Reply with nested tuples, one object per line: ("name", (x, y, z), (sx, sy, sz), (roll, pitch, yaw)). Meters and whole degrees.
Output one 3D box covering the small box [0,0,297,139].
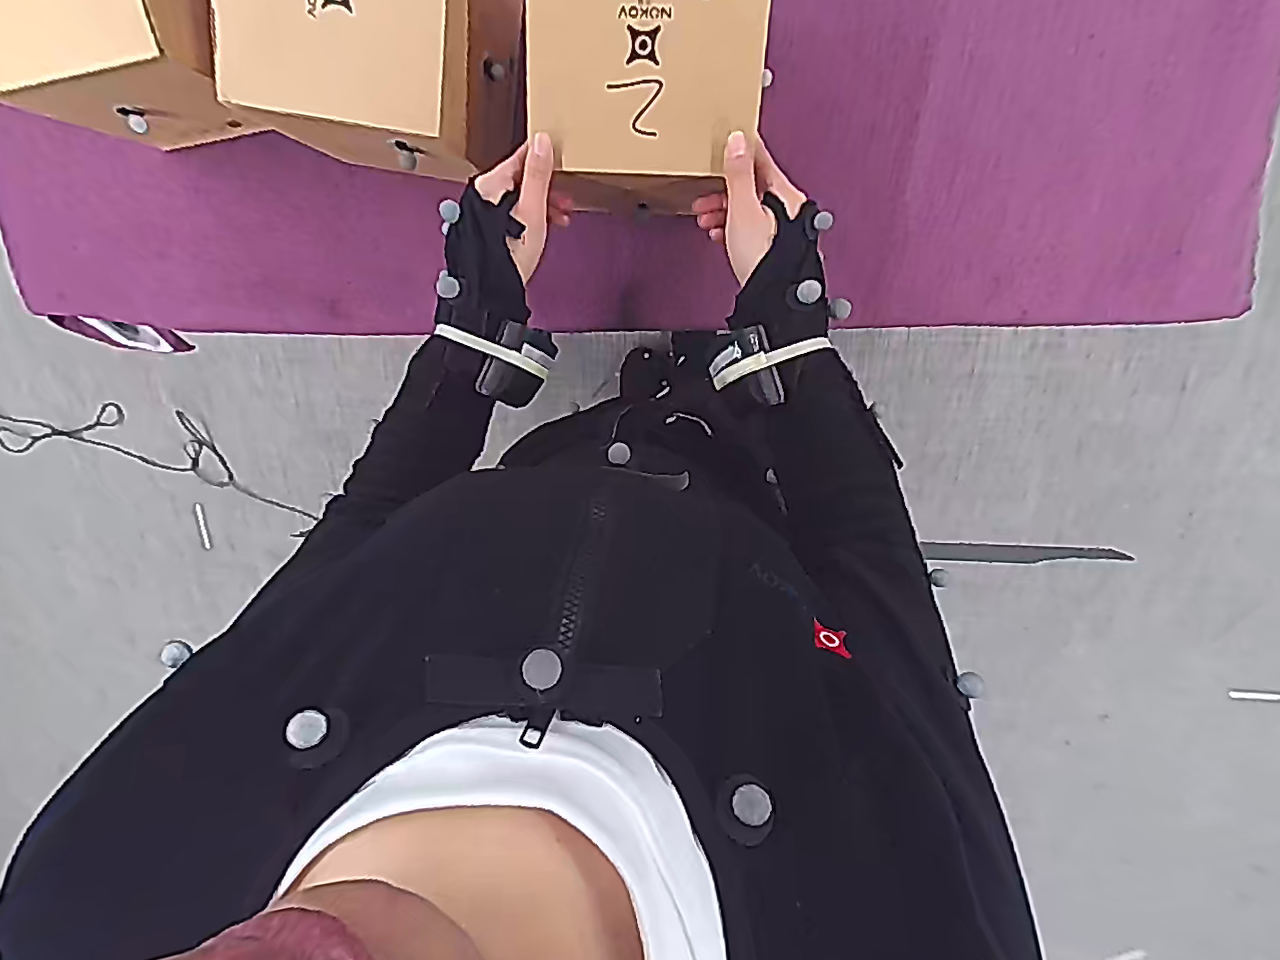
("small box", (-0.440, -0.417, 0.463), (0.168, 0.176, 0.179), (-7, 107, 7))
